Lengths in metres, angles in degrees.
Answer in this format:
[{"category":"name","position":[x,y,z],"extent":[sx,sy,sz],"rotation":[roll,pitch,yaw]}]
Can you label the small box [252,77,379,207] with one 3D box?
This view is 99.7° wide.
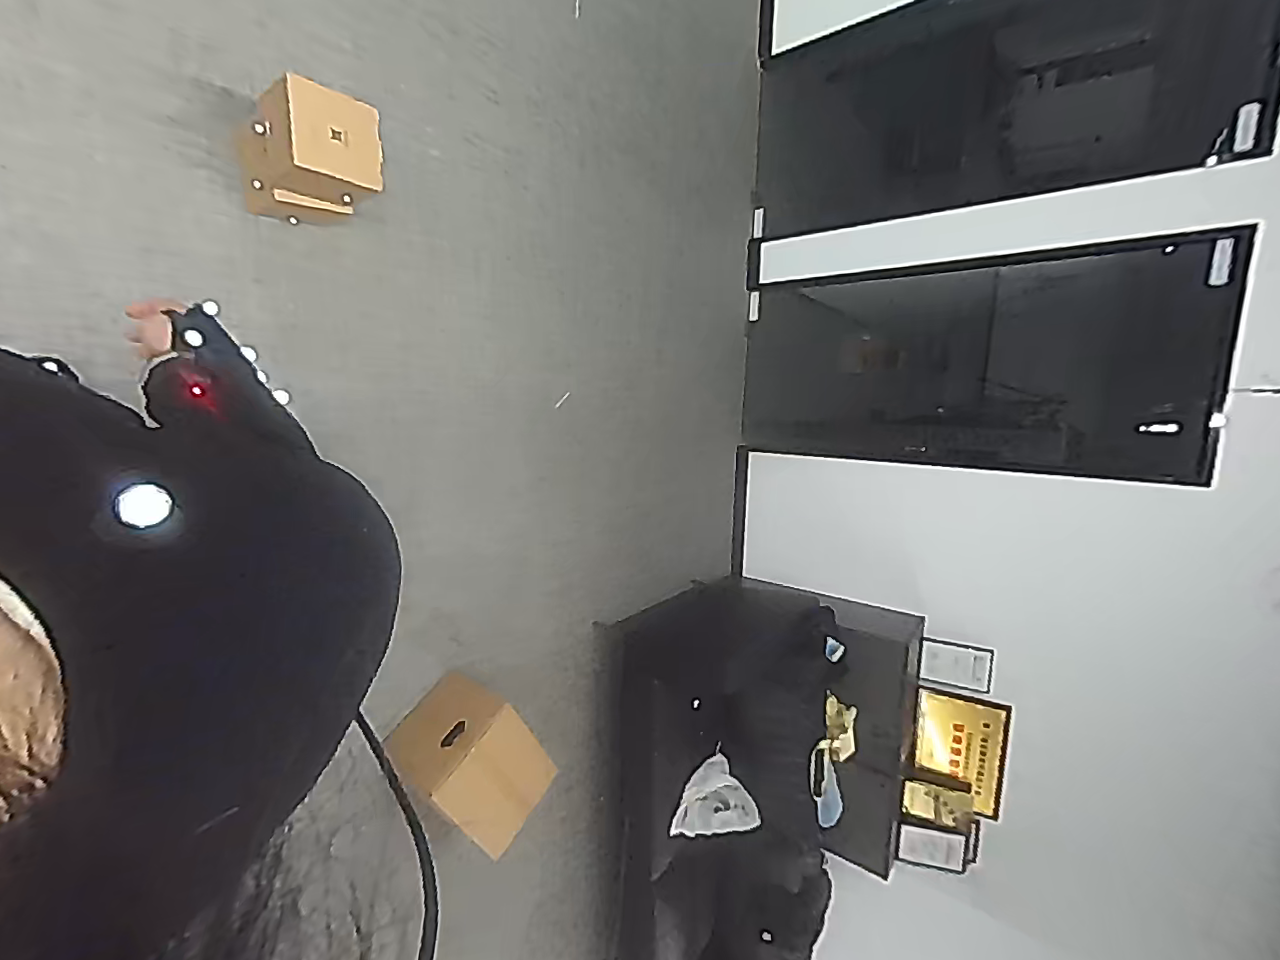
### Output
[{"category":"small box","position":[-0.676,-0.691,1.132],"extent":[0.179,0.176,0.168],"rotation":[-11,104,-52]}]
